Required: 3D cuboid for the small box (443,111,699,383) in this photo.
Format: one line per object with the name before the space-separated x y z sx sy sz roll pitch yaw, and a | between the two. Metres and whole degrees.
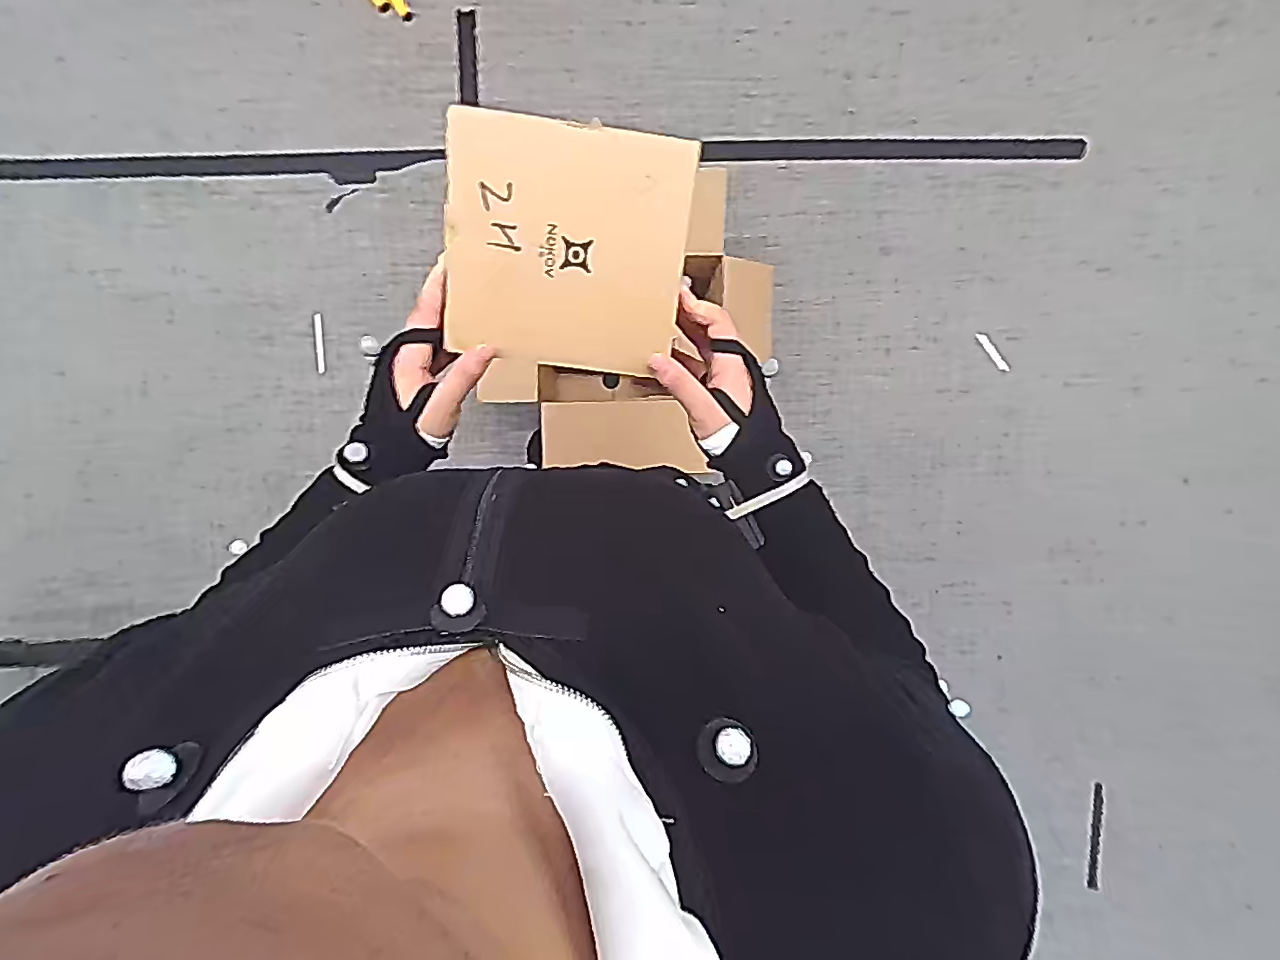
small box | -0.056 -0.188 0.471 0.179 0.176 0.168 7 107 -2
